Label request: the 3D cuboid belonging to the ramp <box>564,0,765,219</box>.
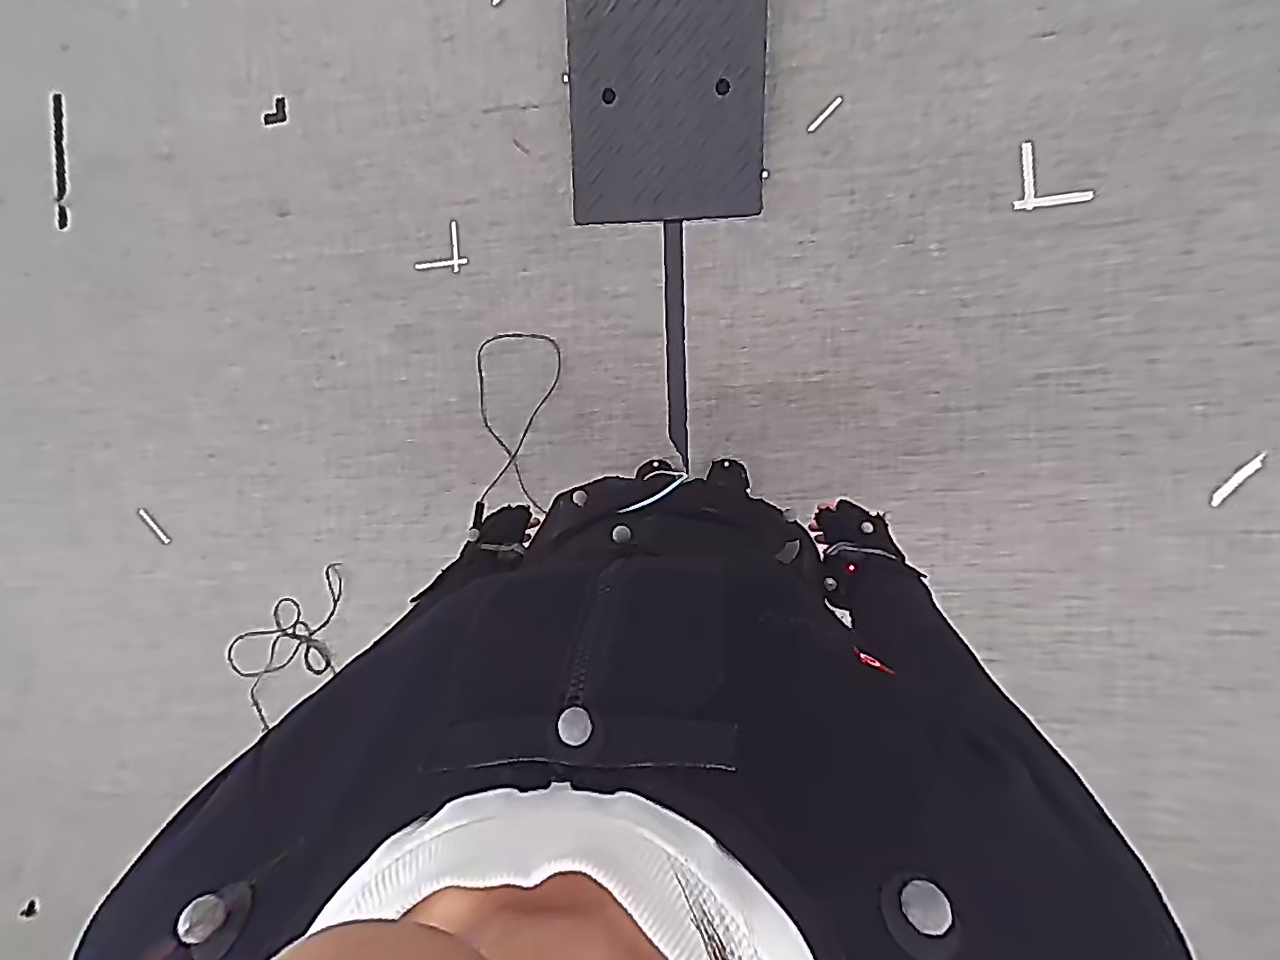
[{"bbox_3d":[0.056,-1.179,1.301,0.509,0.206,0.991,-1,93,6],"label":"ramp"}]
